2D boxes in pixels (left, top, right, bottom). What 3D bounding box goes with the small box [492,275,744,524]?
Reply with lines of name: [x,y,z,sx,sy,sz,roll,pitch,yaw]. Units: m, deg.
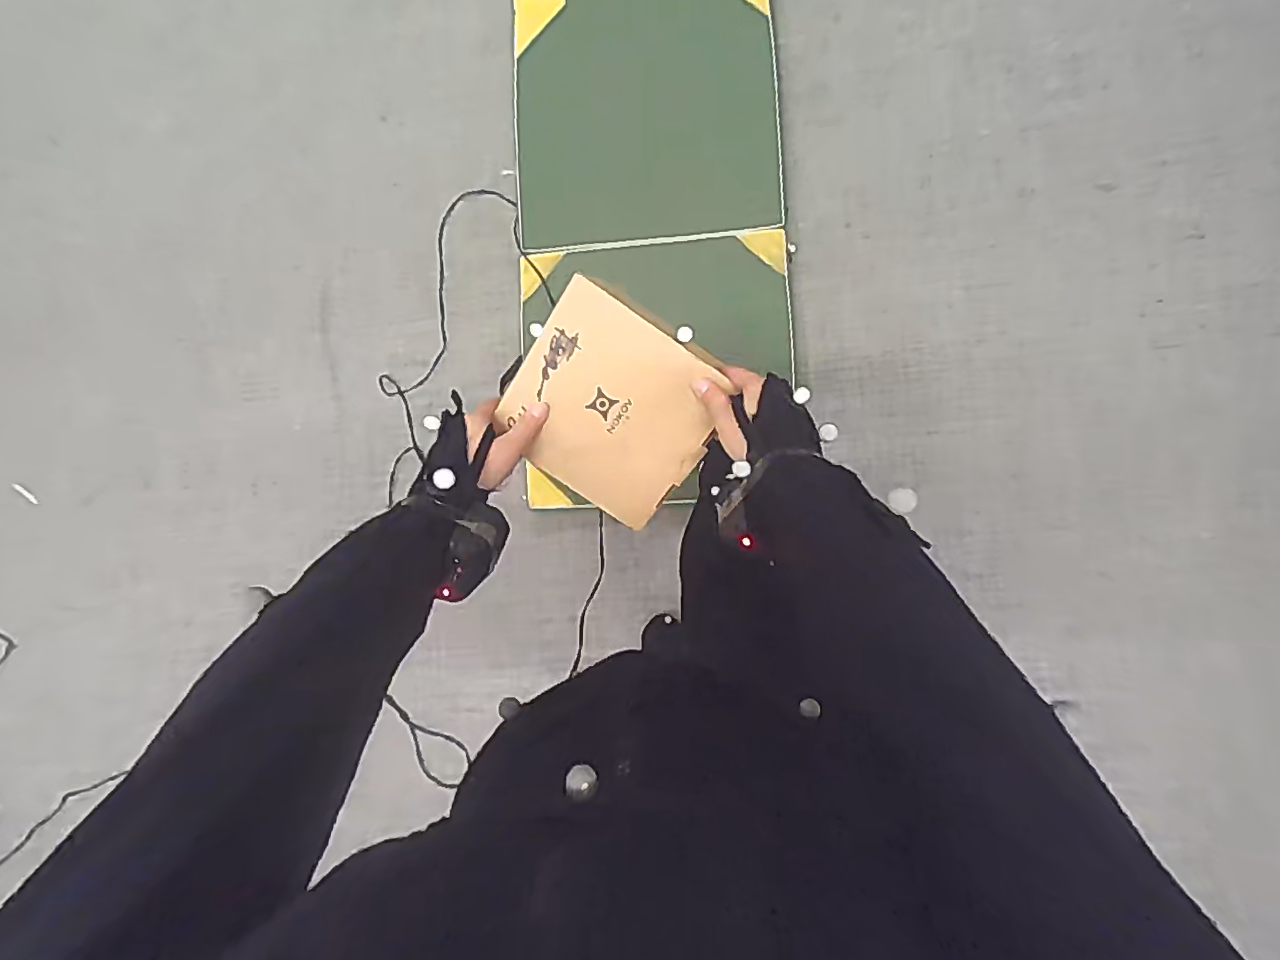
small box: [-0.015,-0.089,0.561,0.179,0.176,0.168,34,107,-5]
